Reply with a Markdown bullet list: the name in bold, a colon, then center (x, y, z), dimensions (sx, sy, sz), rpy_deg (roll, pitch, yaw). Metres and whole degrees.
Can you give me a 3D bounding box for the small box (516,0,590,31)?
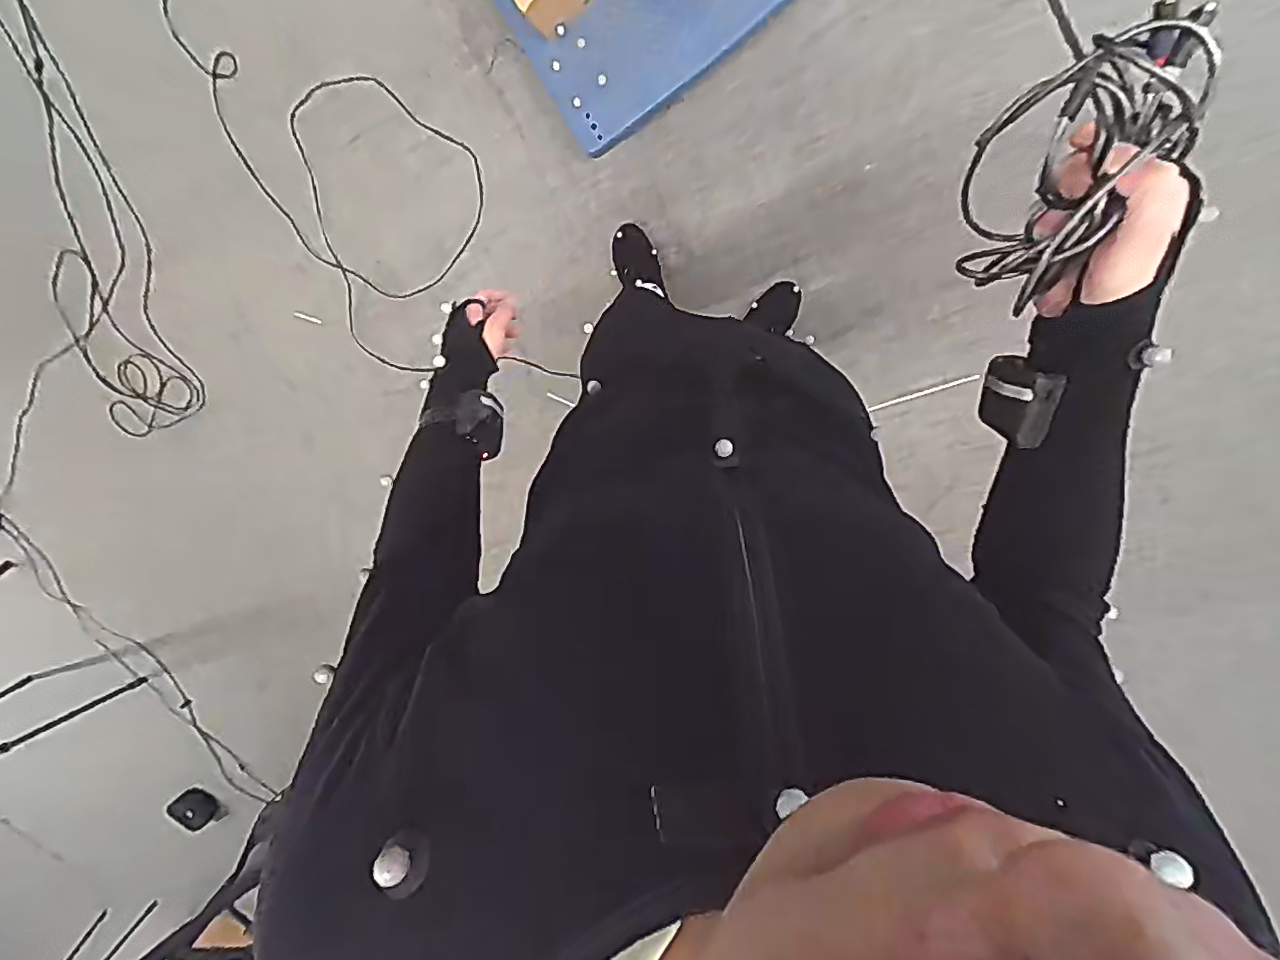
- **small box**: center (-0.179, -0.999, 1.017), dimensions (0.168, 0.176, 0.179), rpy_deg (-29, 104, 21)
